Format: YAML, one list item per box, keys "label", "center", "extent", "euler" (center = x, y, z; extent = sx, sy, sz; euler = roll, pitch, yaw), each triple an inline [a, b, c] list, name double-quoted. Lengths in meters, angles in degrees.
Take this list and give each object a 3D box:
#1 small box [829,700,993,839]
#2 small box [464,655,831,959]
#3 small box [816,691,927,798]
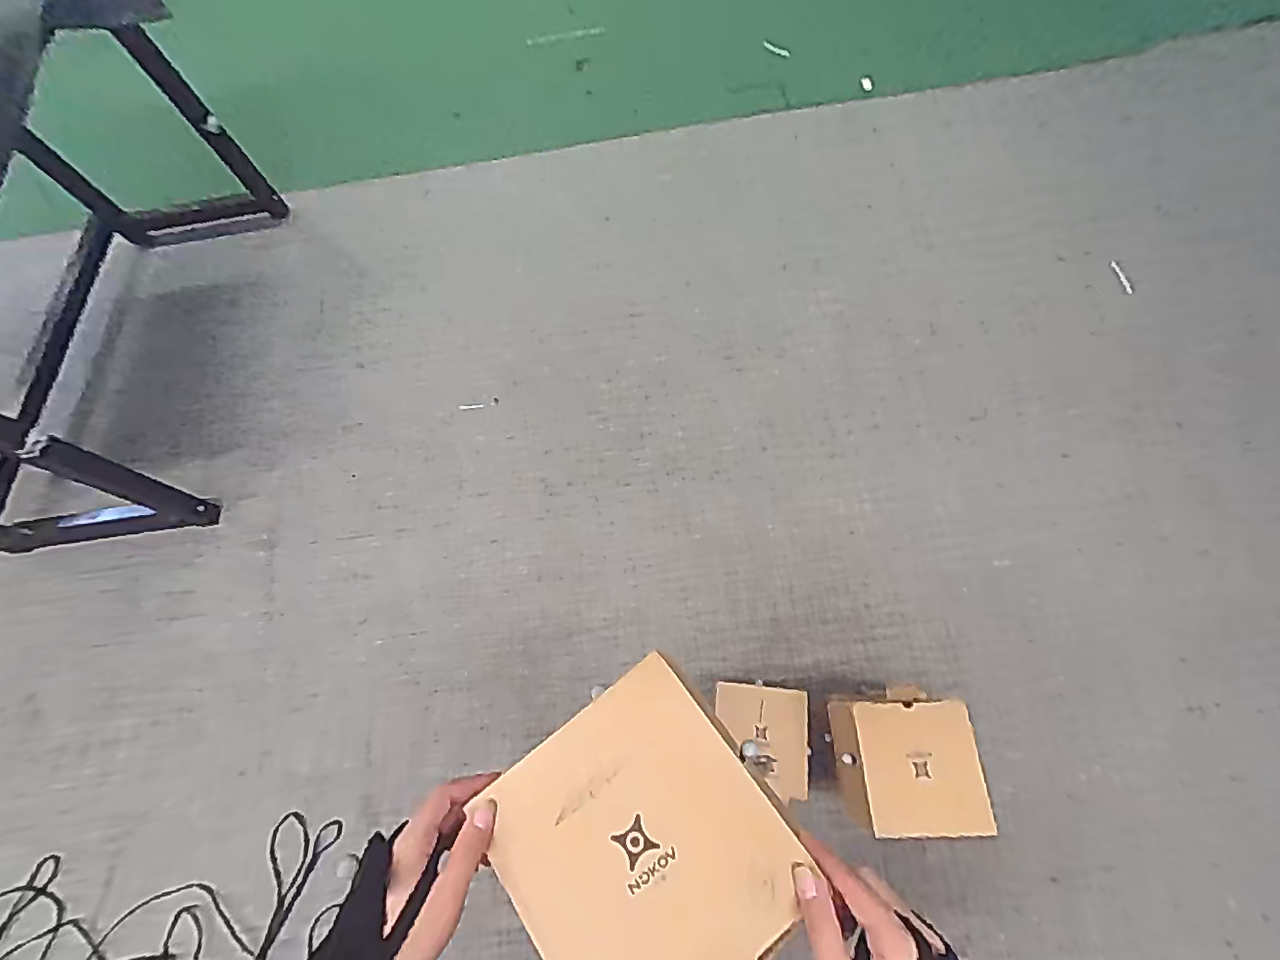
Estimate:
- label: "small box"
  center: [0.408, 0.443, 0.849]
  extent: [0.168, 0.176, 0.179]
  euler: [-4, 66, 5]
- label: "small box"
  center: [0.008, 0.254, 0.410]
  extent: [0.168, 0.176, 0.179]
  euler: [-39, 71, -8]
- label: "small box"
  center: [0.435, 0.494, 1.002]
  extent: [0.168, 0.176, 0.179]
  euler: [-4, 66, 4]
